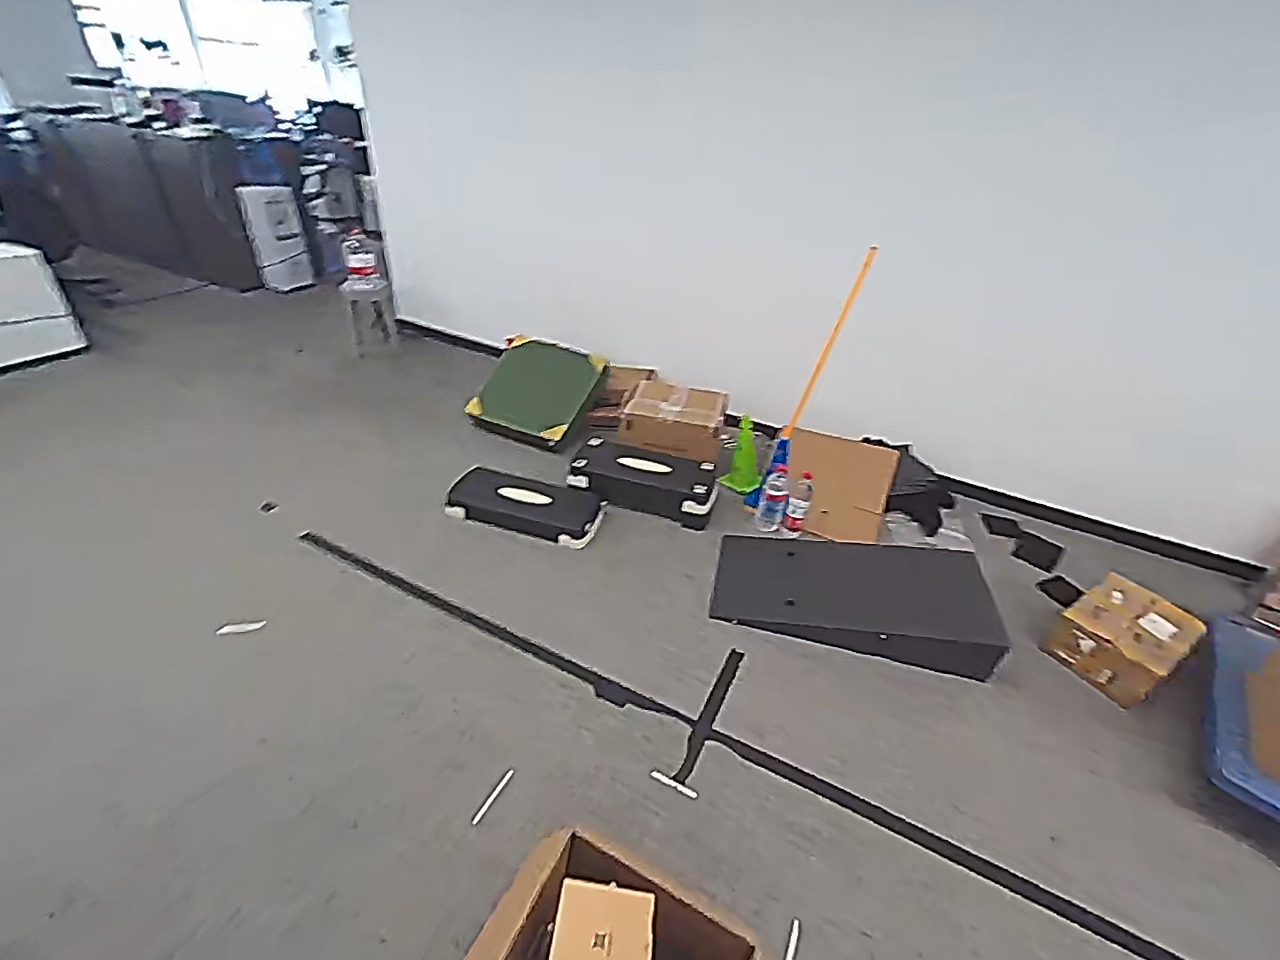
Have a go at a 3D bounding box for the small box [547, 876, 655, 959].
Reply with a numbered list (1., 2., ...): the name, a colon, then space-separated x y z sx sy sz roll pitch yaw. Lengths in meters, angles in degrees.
1. small box: -0.077 0.869 0.997 0.179 0.176 0.168 10 37 0
